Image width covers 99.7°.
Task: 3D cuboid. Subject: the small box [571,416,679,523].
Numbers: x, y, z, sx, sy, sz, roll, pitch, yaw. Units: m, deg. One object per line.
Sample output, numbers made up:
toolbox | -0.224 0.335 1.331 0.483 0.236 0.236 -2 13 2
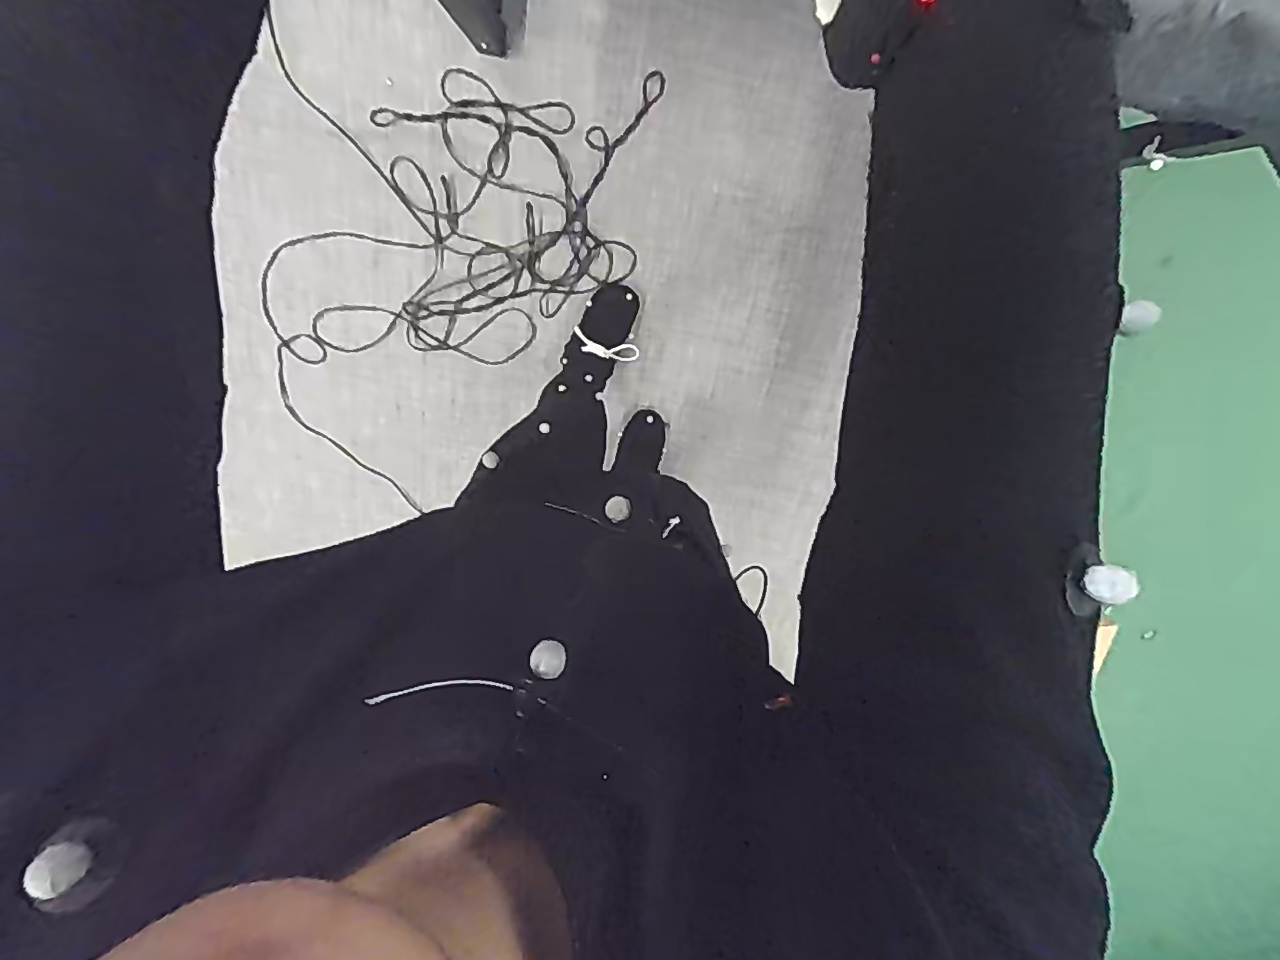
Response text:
small box | -0.031 -0.017 1.245 0.176 0.168 0.179 -15 122 26
